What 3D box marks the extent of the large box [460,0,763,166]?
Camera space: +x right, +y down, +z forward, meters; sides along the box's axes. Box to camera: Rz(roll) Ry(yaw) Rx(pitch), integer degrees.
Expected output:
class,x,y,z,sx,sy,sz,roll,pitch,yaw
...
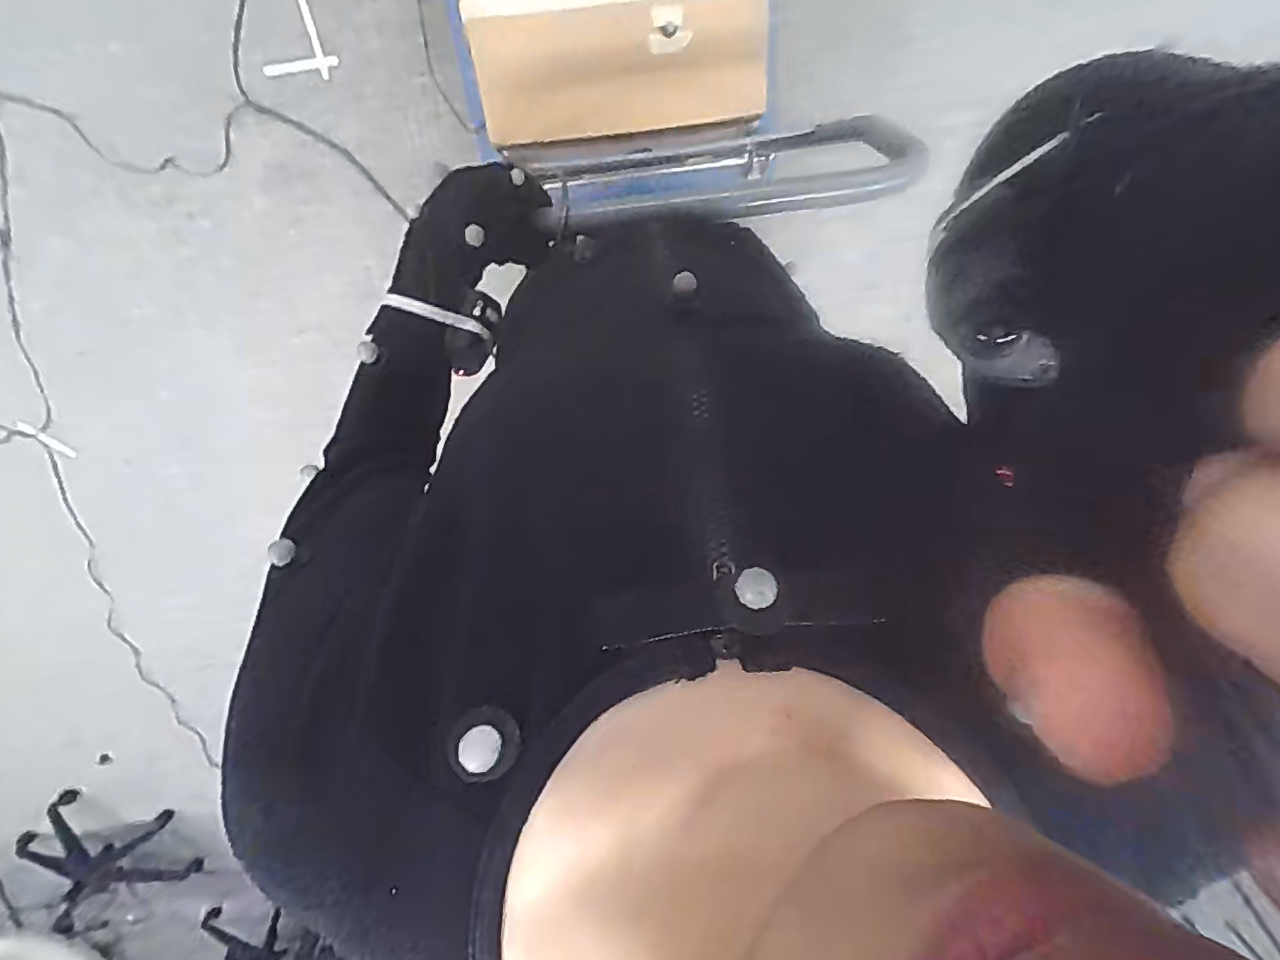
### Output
class,x,y,z,sx,sy,sz,roll,pitch,yaw
large box,-0.049,-0.699,0.844,0.408,0.320,0.320,-7,119,-2
